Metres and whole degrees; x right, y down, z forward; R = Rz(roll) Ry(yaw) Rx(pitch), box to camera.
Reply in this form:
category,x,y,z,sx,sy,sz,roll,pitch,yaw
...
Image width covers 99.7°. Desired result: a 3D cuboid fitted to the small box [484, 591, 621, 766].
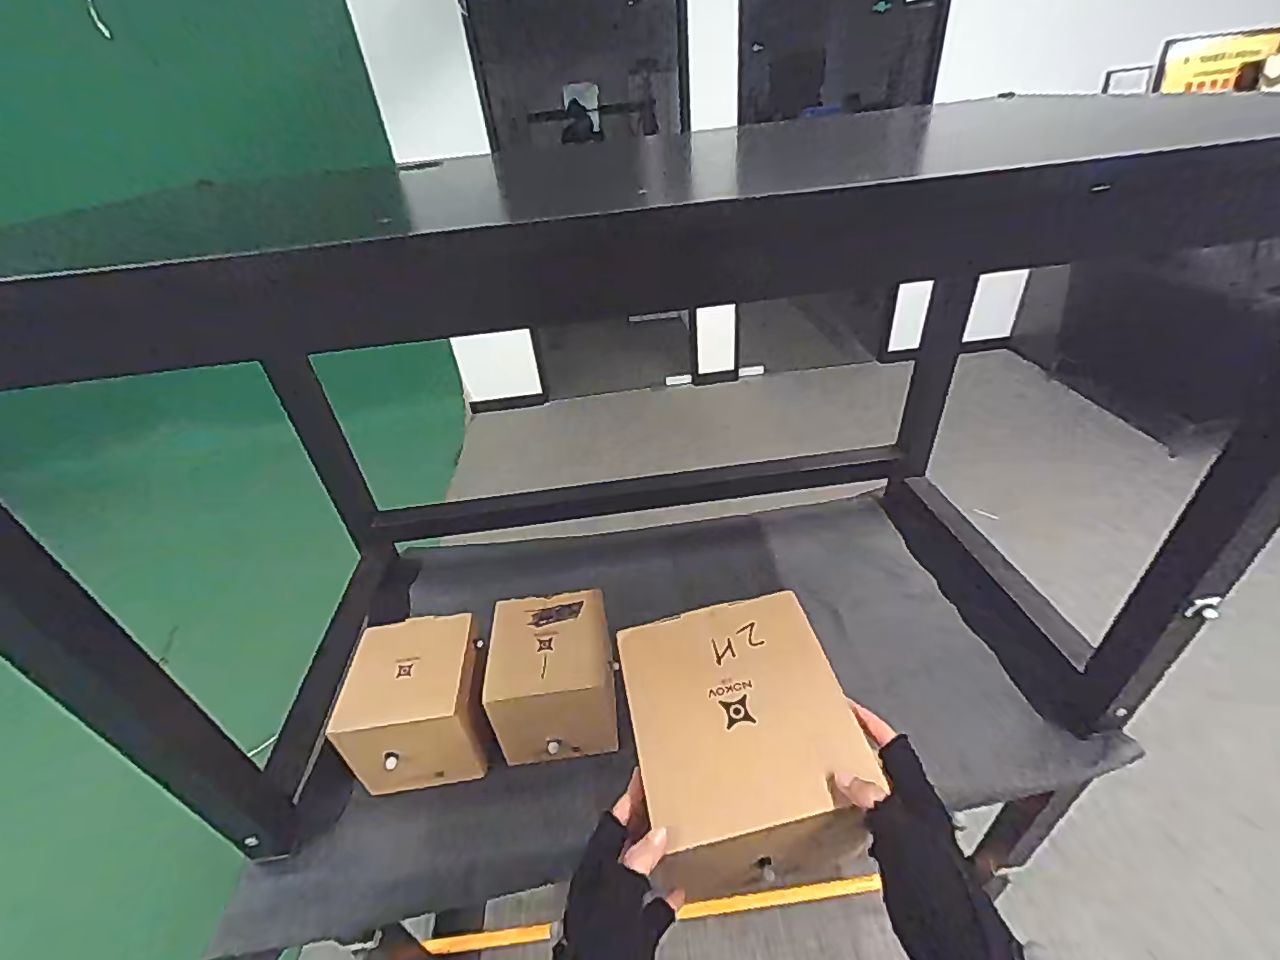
category,x,y,z,sx,sy,sz,roll,pitch,yaw
small box,-0.122,0.296,0.816,0.168,0.176,0.179,-8,35,-1

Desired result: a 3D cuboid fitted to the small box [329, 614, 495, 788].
category,x,y,z,sx,sy,sz,roll,pitch,yaw
small box,-0.316,0.329,0.799,0.168,0.176,0.179,-7,34,-2
